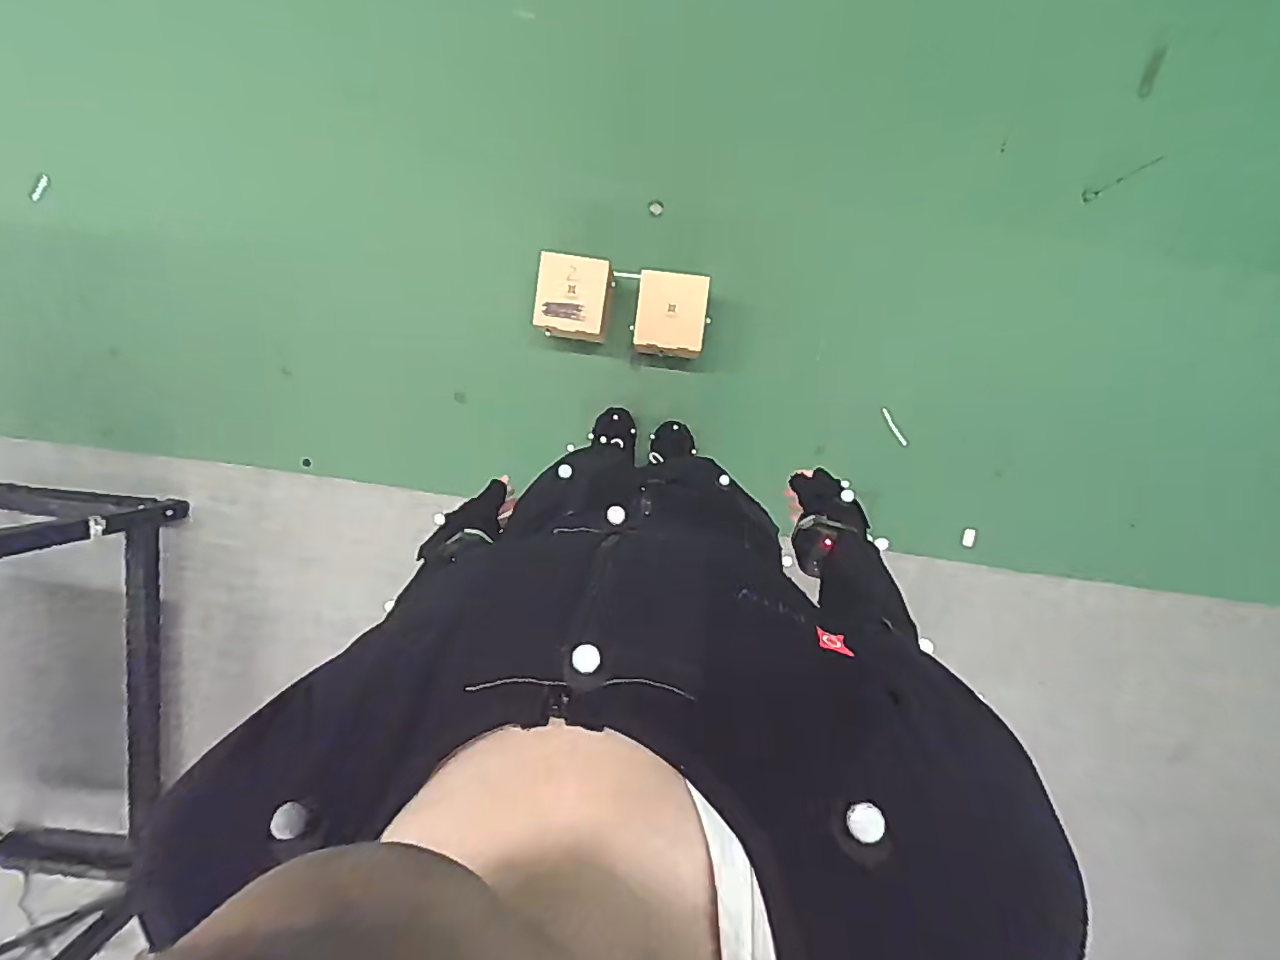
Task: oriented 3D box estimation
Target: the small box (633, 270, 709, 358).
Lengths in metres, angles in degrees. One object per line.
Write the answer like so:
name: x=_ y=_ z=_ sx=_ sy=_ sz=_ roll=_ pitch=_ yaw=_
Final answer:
small box: x=0.073 y=-0.413 z=1.369 sx=0.168 sy=0.176 sz=0.179 roll=7 pitch=98 yaw=0
